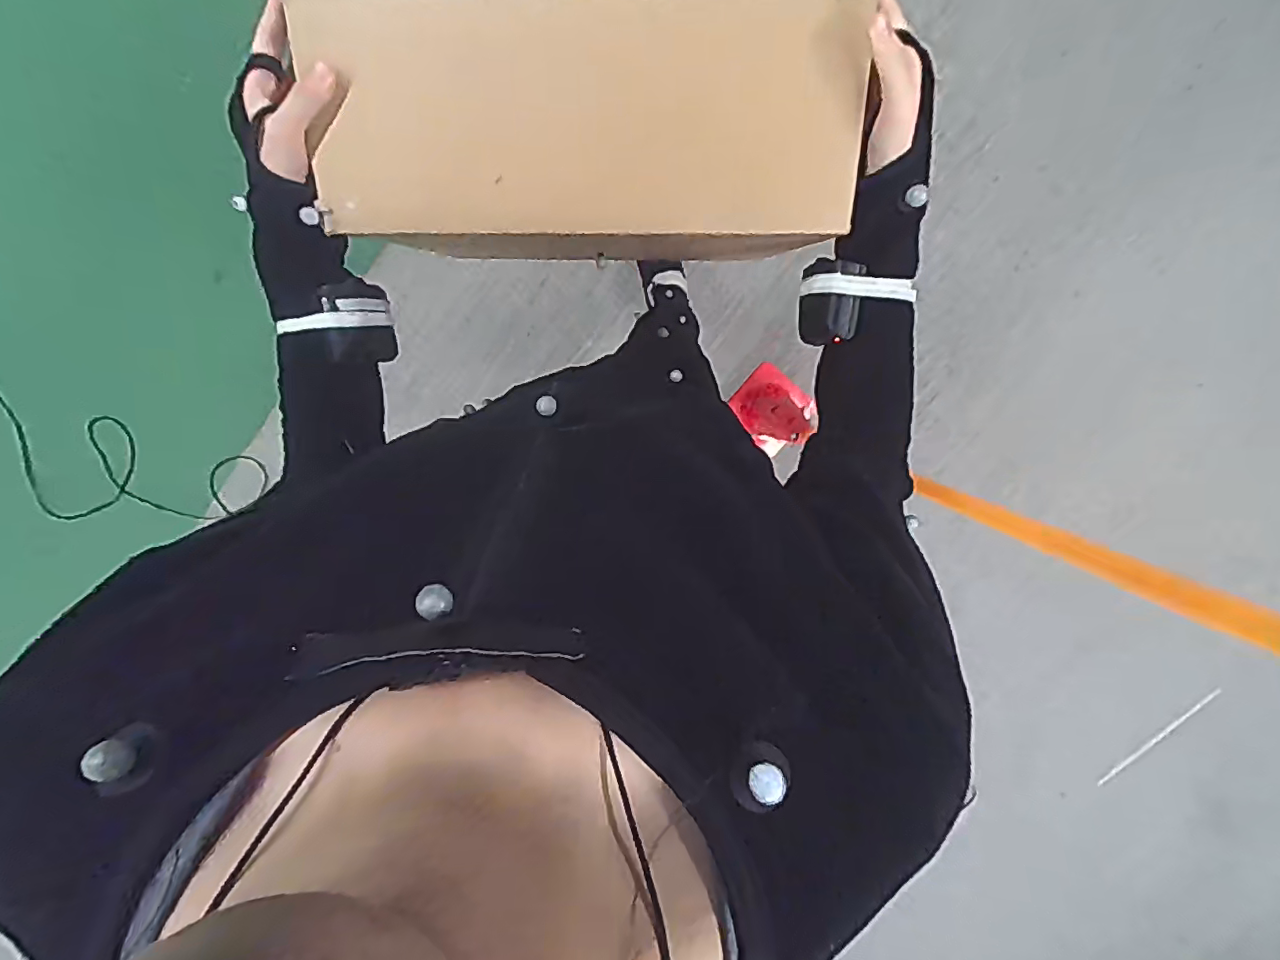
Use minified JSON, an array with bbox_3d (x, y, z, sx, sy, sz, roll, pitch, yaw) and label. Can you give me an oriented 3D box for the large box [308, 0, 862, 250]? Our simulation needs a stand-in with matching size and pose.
[{"bbox_3d":[-0.037,-0.396,0.523,0.408,0.320,0.320,1,109,0],"label":"large box"}]
